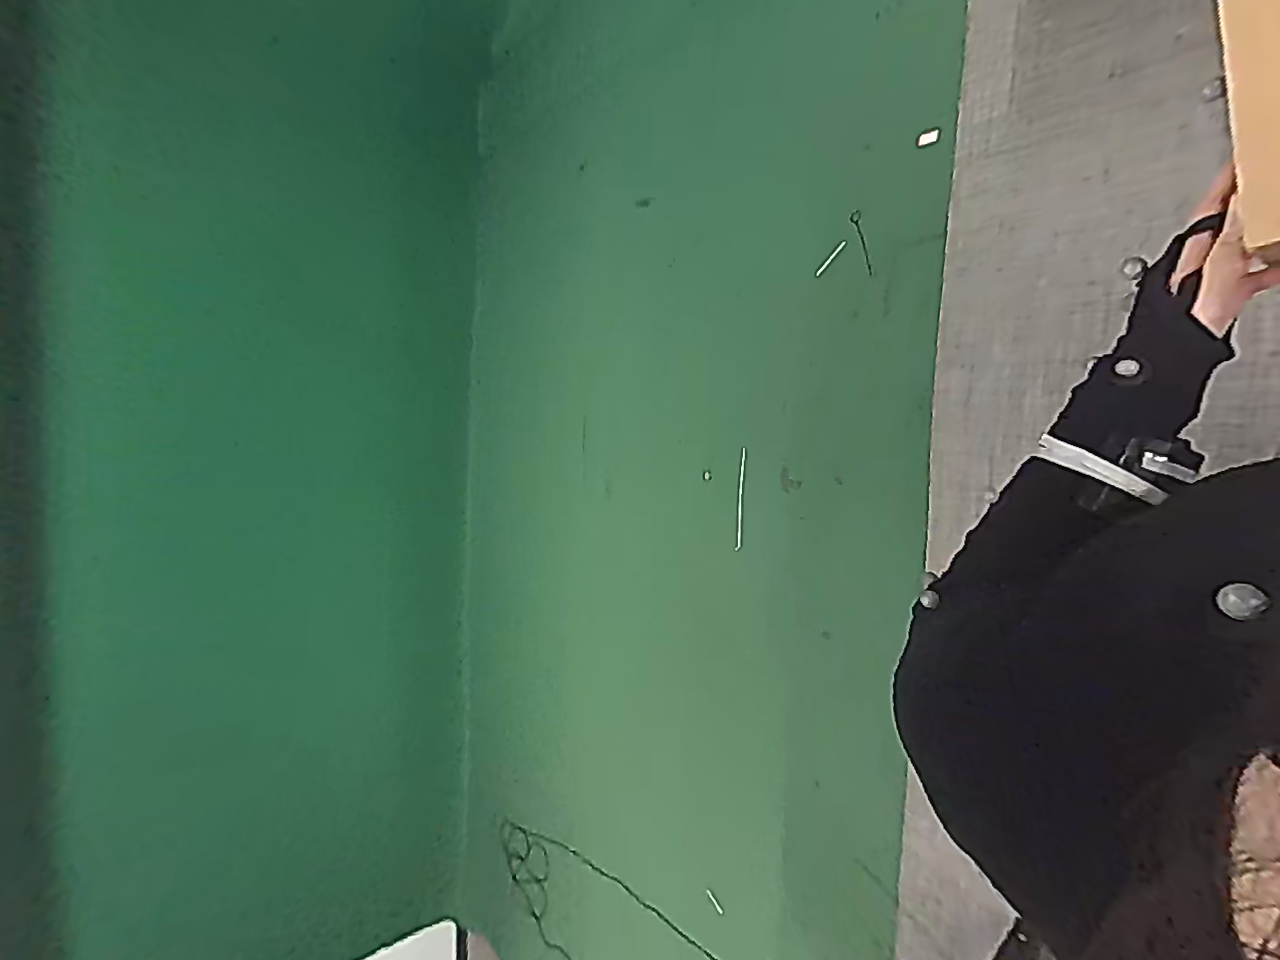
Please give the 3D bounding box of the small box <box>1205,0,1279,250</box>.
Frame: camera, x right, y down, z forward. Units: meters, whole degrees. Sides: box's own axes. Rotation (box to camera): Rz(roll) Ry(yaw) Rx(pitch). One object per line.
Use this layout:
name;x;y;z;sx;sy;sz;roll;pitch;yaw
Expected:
small box;0.420;-0.234;0.275;0.168;0.176;0.179;-5;96;54
